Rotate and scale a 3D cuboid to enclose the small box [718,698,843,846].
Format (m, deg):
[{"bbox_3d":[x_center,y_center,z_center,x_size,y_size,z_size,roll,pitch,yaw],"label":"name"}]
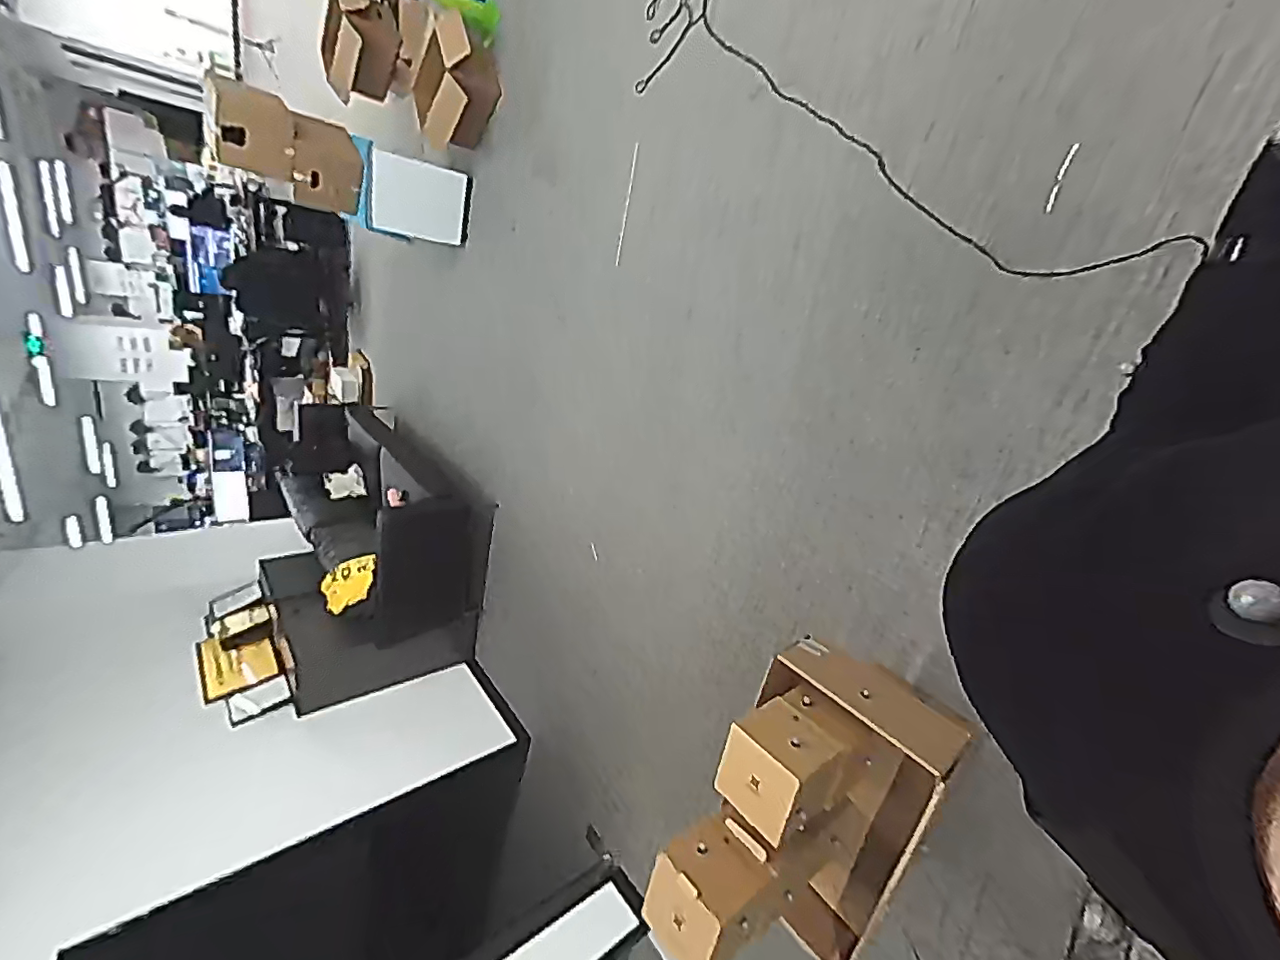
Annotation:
[{"bbox_3d":[0.292,0.586,1.111,0.168,0.176,0.179,28,116,43],"label":"small box"}]

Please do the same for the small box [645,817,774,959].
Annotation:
[{"bbox_3d":[0.139,0.817,1.066,0.168,0.176,0.179,28,112,44],"label":"small box"}]

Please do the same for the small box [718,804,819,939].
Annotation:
[{"bbox_3d":[0.263,0.813,1.171,0.168,0.176,0.179,24,110,44],"label":"small box"}]
